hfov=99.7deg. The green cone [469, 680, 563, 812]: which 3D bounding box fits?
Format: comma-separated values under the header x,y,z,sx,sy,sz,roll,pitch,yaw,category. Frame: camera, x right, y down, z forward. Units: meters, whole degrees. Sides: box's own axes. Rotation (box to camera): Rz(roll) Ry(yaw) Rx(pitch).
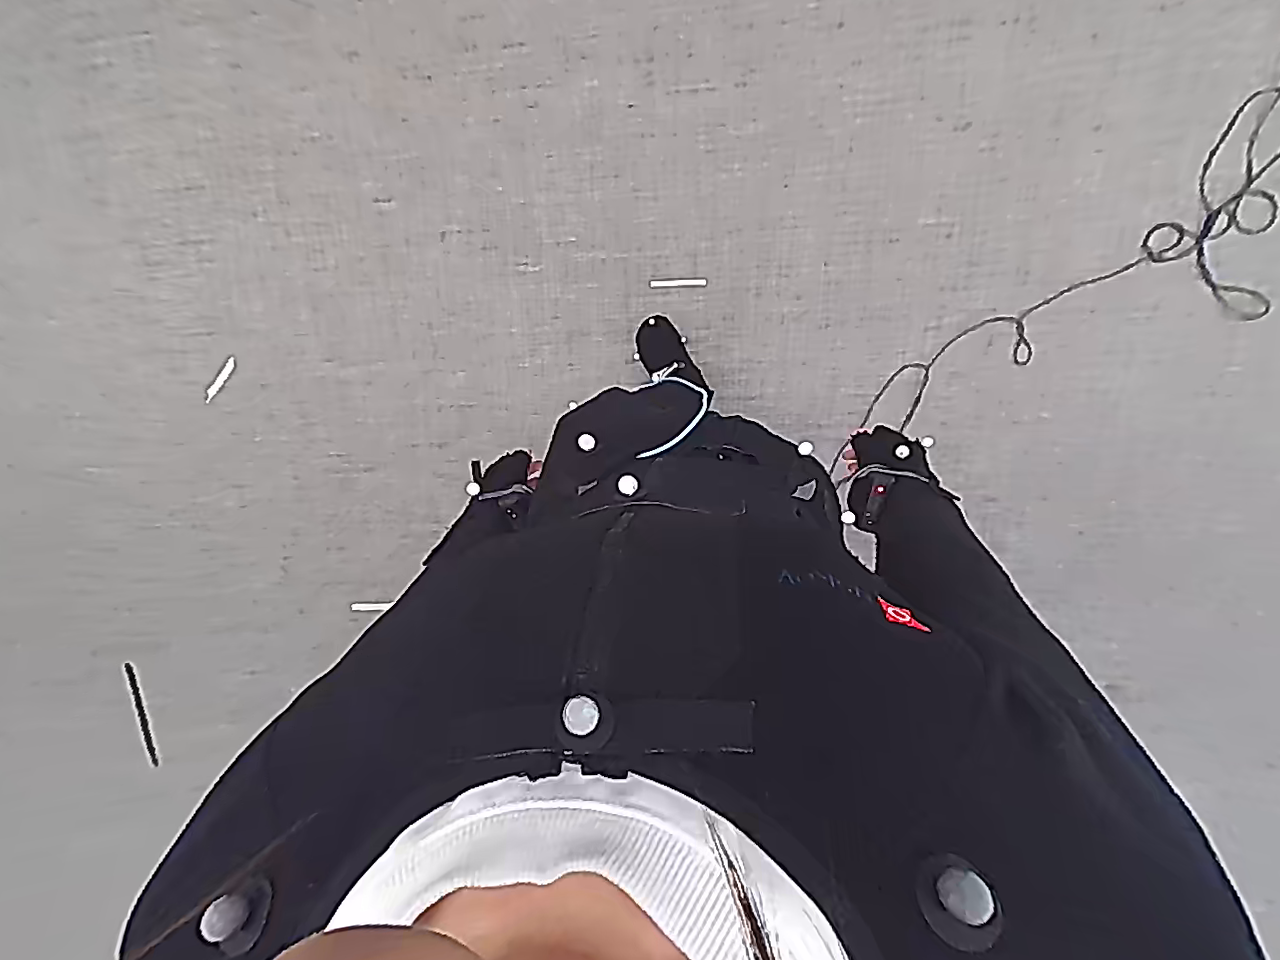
x,y,z,sx,sy,sz,roll,pitch,yaw,category
-0.359,0.735,1.463,0.202,0.368,0.200,1,103,9,green cone
